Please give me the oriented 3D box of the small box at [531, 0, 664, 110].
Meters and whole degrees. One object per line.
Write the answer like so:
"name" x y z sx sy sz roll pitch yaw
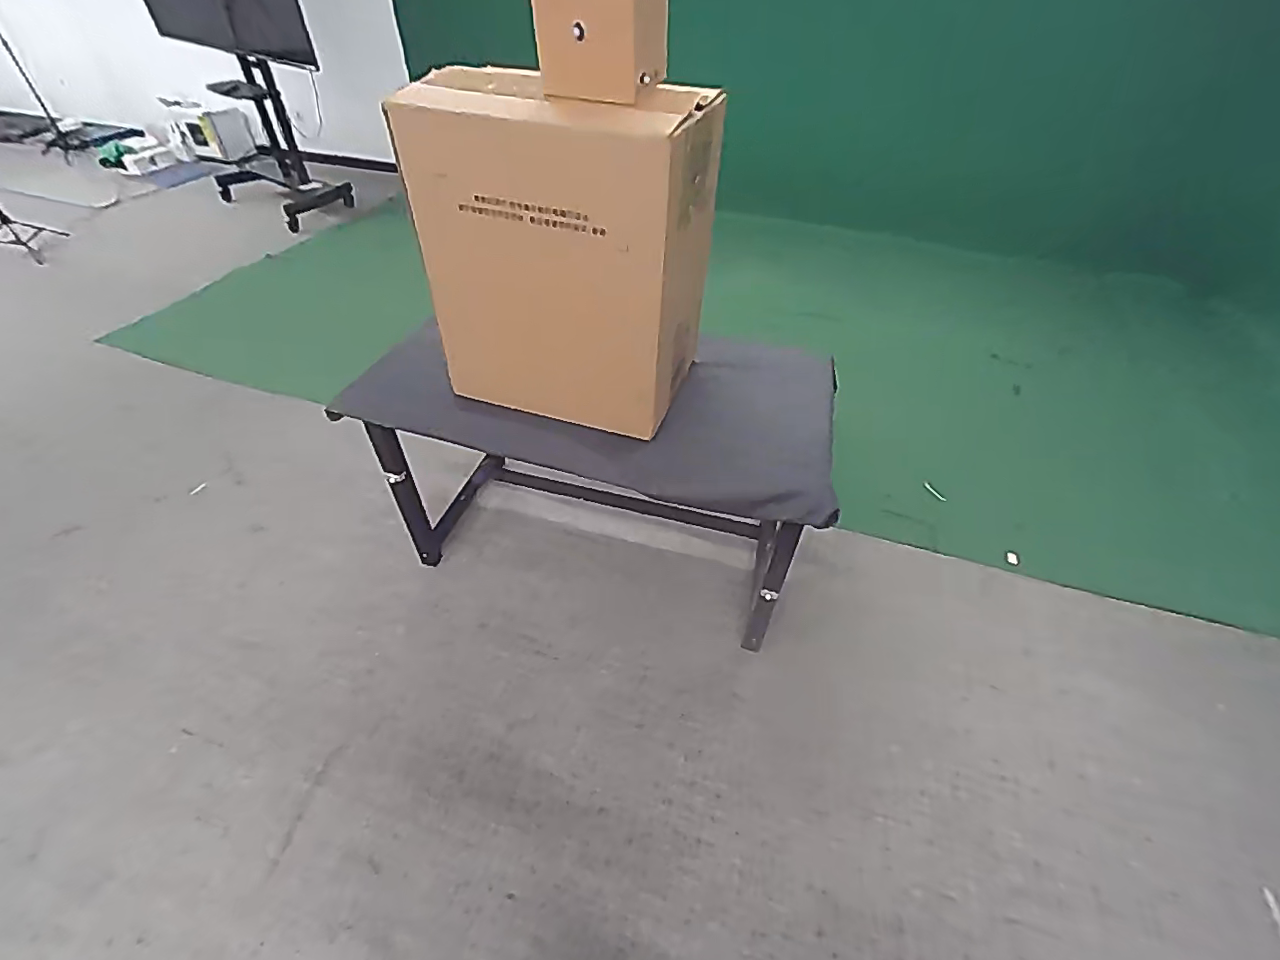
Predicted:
"small box" -0.061 -0.750 0.914 0.179 0.176 0.168 15 52 14
